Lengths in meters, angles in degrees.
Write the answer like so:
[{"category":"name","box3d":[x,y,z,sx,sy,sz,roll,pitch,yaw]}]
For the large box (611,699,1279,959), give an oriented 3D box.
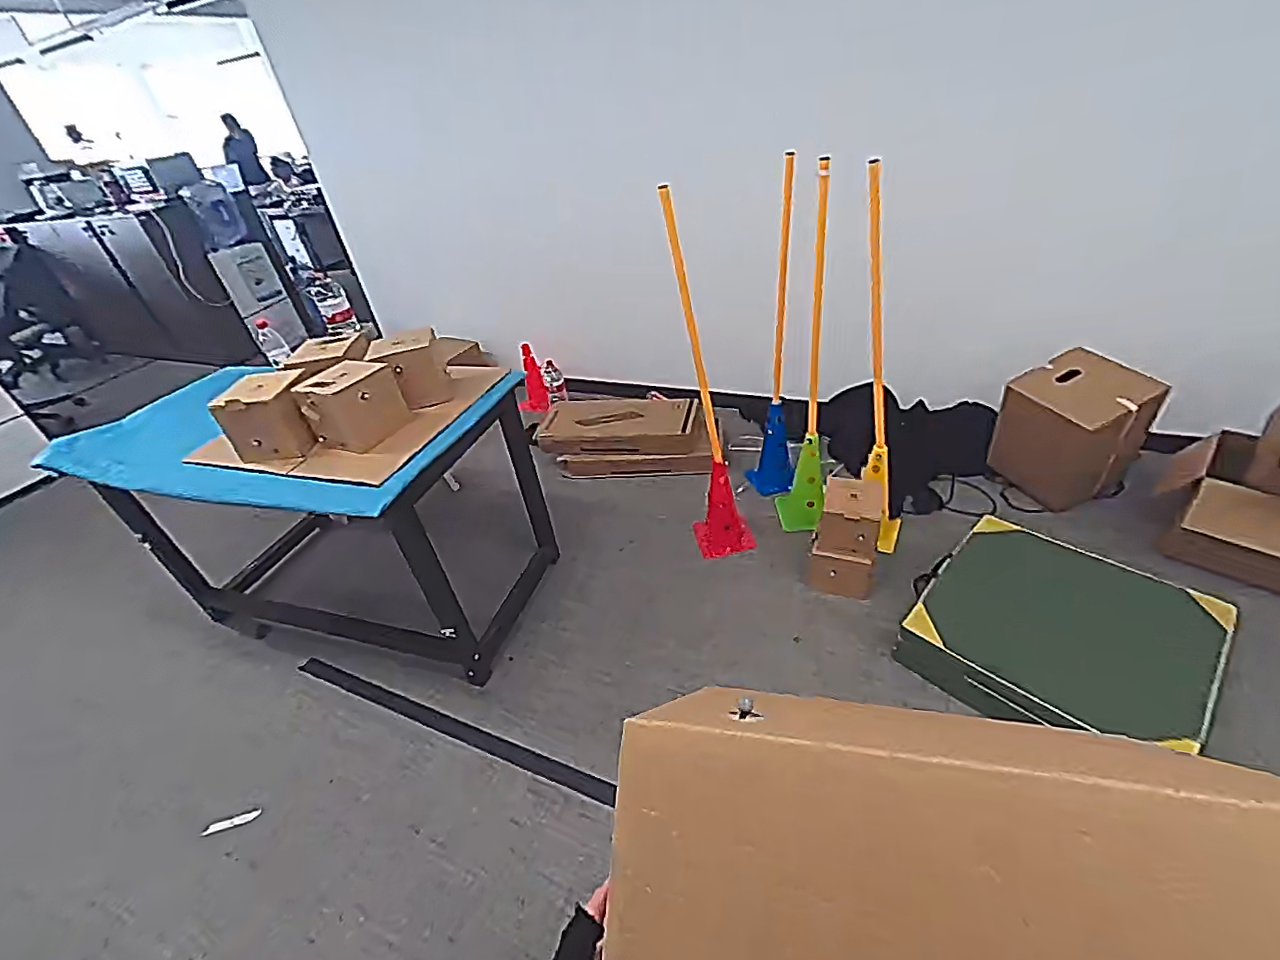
[{"category":"large box","box3d":[0.210,0.348,0.396,0.408,0.320,0.320,-1,74,17]}]
